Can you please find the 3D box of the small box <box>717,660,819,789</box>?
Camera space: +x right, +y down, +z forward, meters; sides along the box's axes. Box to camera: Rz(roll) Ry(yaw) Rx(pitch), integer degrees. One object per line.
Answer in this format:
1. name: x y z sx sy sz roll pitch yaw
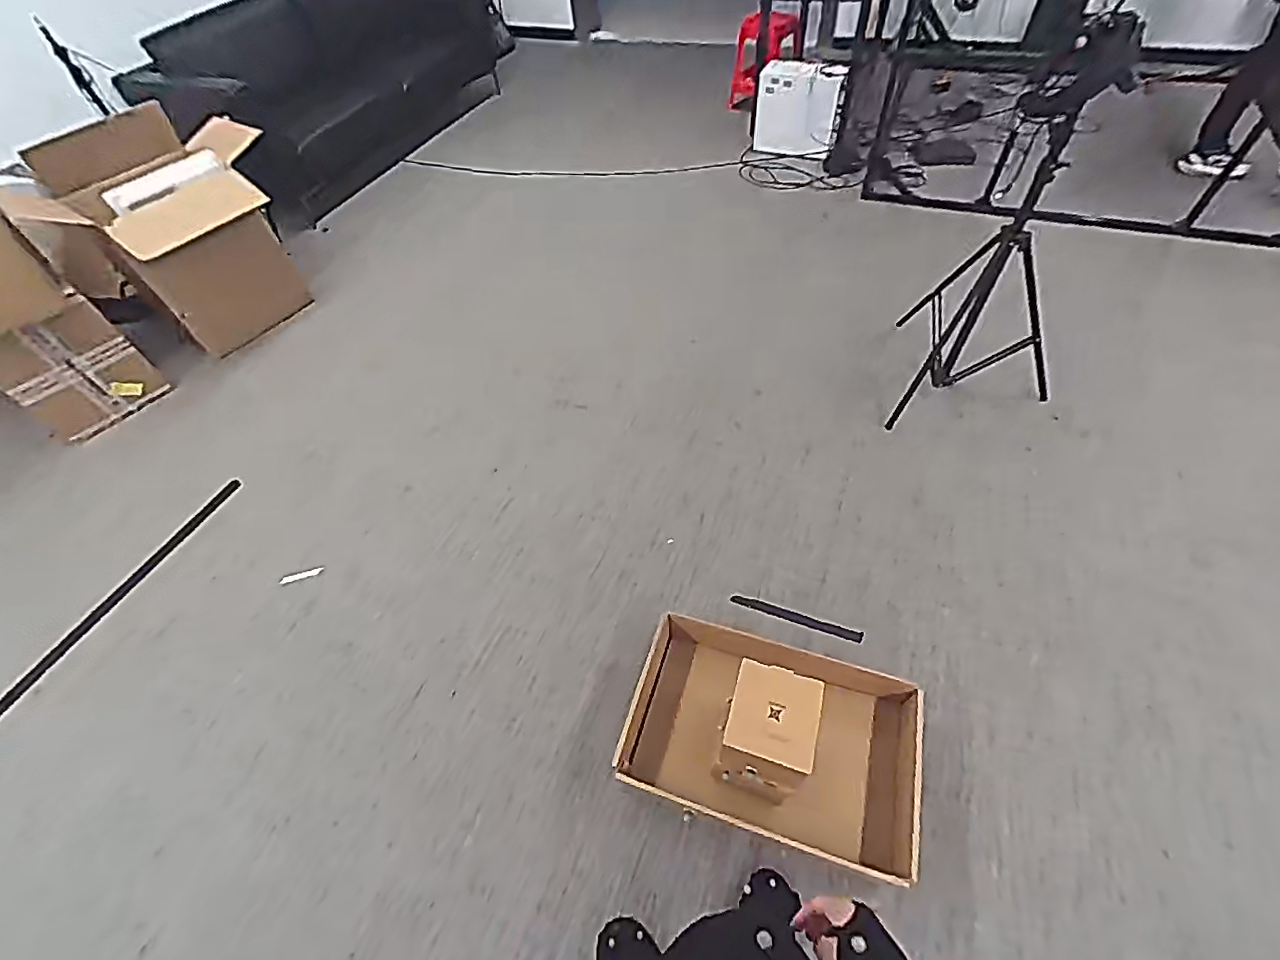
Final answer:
1. small box: 0.256 0.499 1.102 0.168 0.176 0.179 13 54 14
